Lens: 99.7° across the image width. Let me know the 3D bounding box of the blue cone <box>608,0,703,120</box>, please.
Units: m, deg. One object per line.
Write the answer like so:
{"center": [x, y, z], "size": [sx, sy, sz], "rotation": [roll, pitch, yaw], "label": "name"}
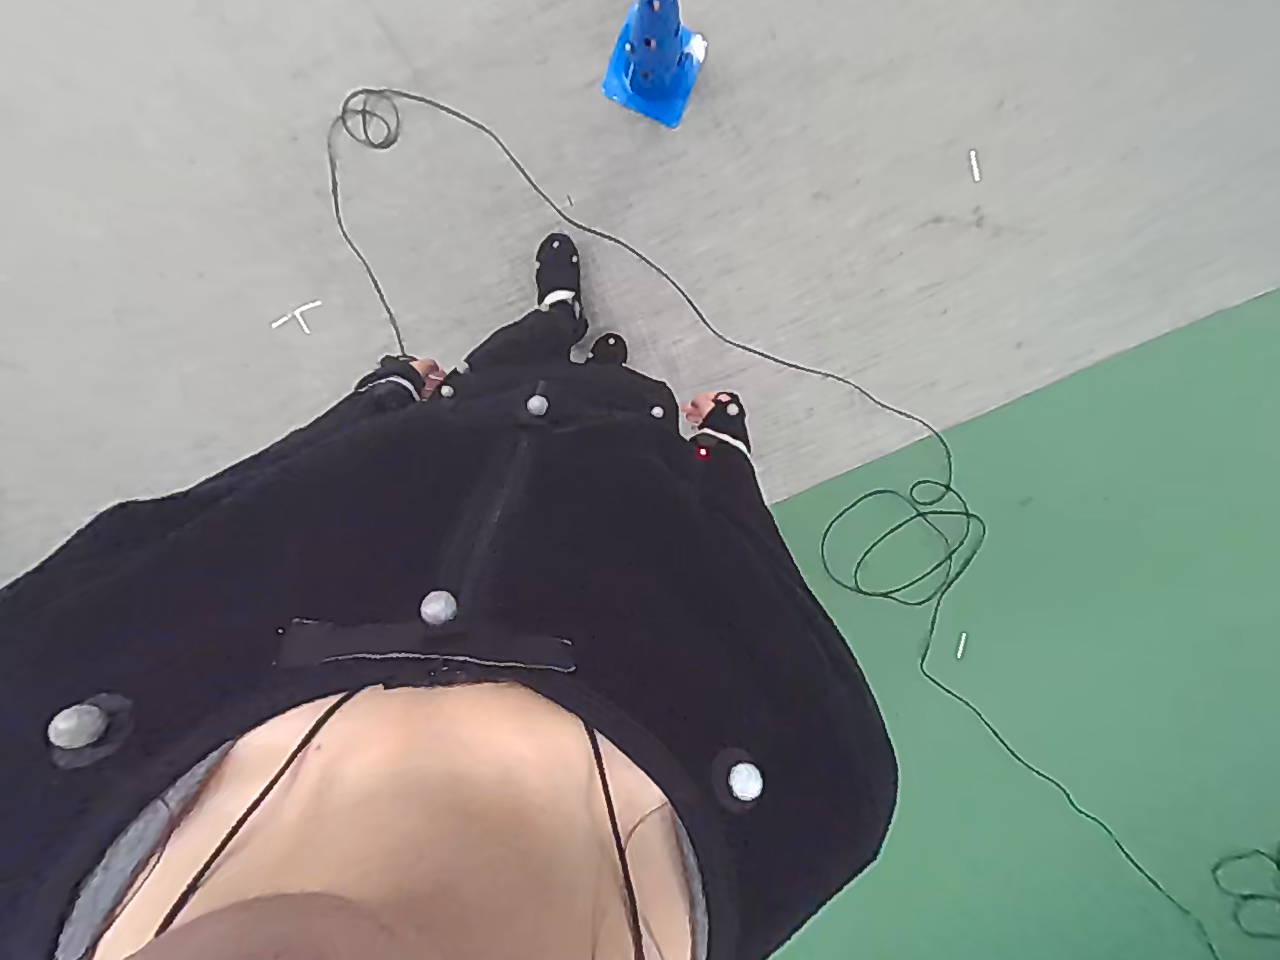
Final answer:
{"center": [0.035, -0.911, 1.075], "size": [0.192, 0.380, 0.193], "rotation": [21, 102, -6], "label": "blue cone"}
